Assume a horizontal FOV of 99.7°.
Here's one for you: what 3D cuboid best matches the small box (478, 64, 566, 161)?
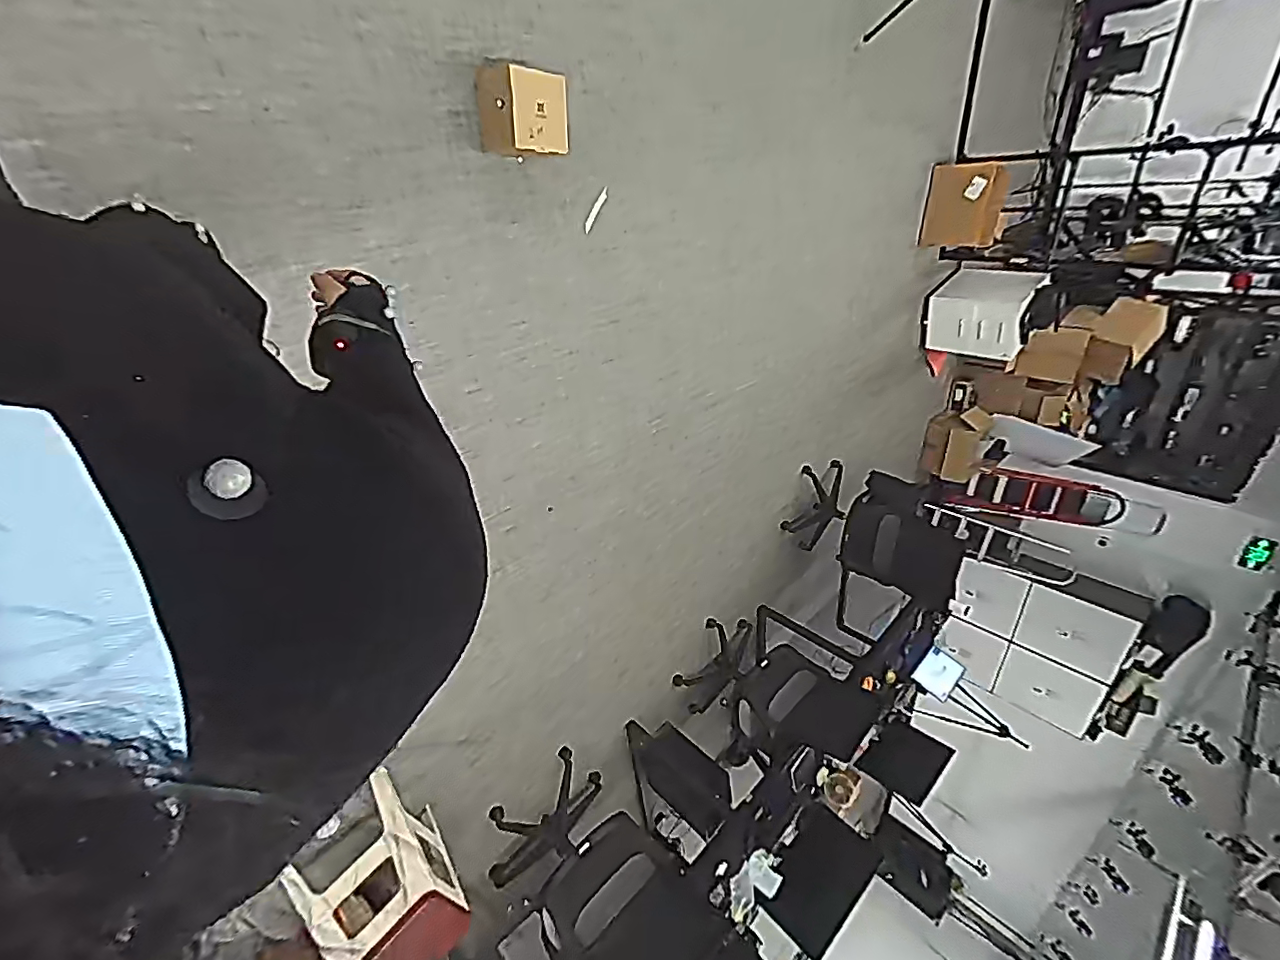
[{"bbox_3d":[-0.309,-0.950,1.414,0.168,0.176,0.179,-20,122,-39],"label":"small box"}]
